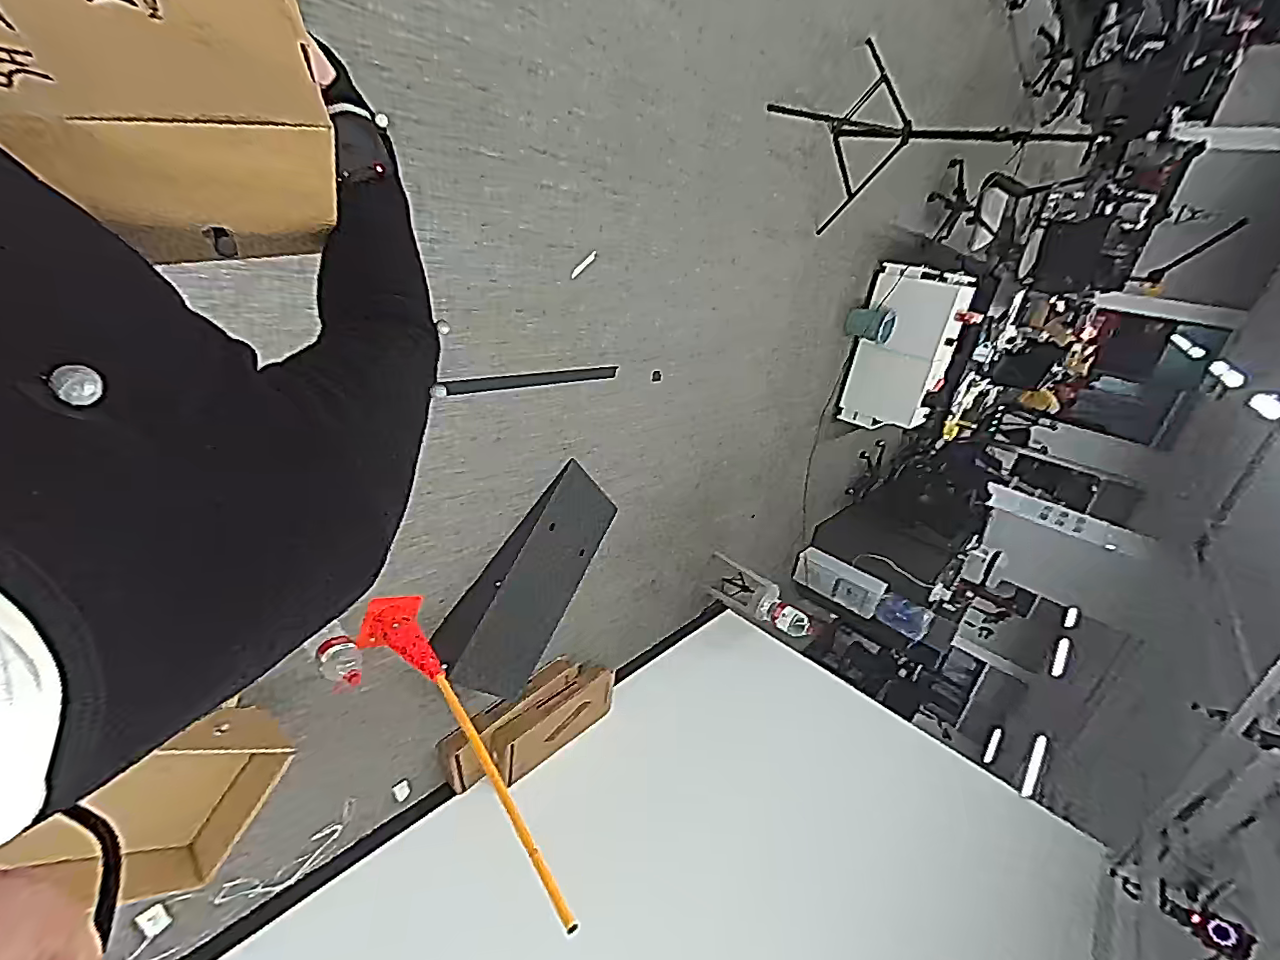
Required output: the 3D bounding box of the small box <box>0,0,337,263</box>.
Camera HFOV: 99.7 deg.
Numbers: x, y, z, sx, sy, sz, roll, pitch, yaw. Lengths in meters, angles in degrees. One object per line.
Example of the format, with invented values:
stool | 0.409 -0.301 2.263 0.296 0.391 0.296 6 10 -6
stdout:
small box | -0.349 -0.285 0.408 0.179 0.176 0.168 -19 90 -30
